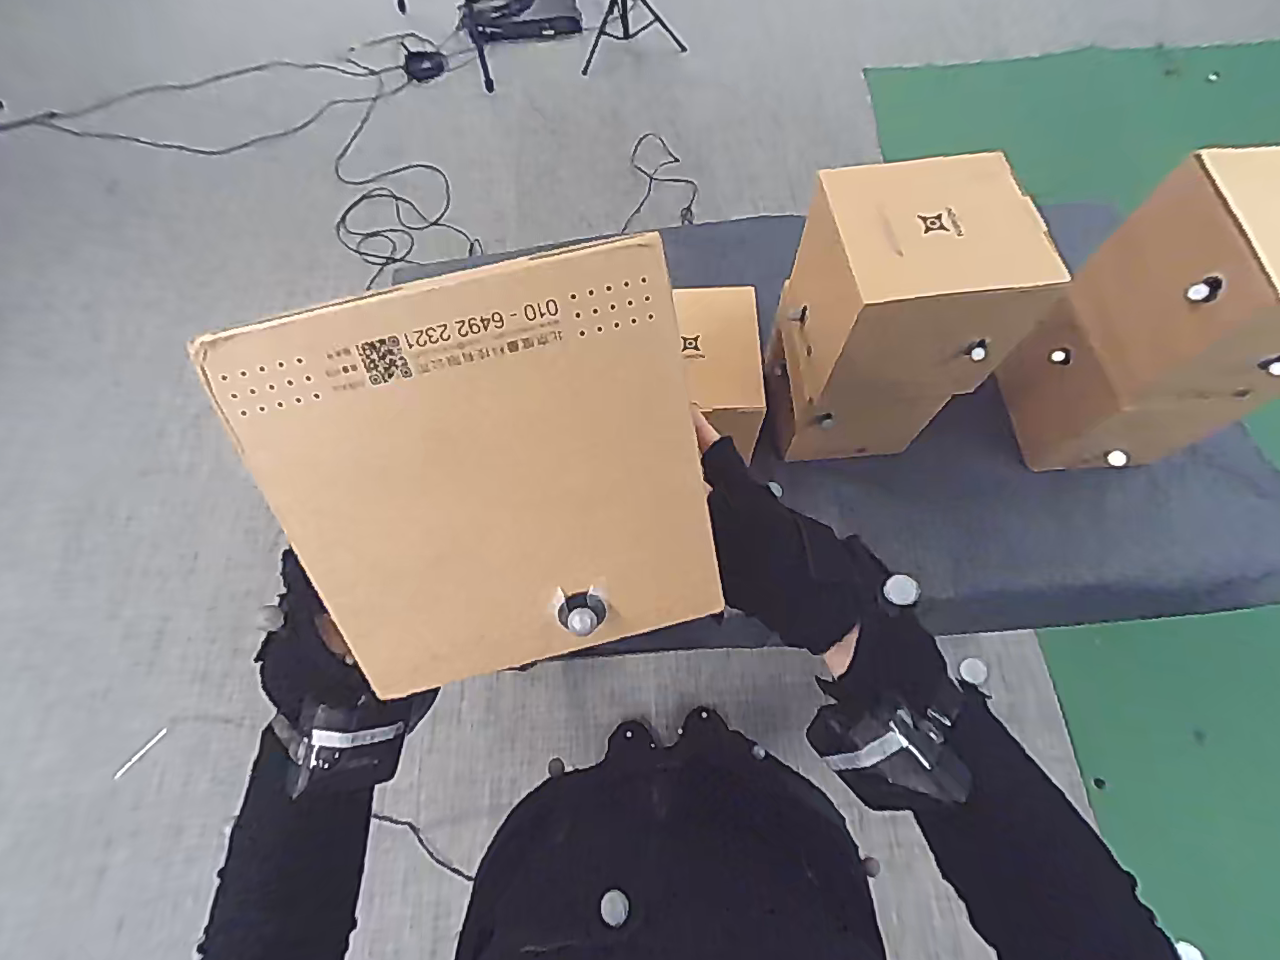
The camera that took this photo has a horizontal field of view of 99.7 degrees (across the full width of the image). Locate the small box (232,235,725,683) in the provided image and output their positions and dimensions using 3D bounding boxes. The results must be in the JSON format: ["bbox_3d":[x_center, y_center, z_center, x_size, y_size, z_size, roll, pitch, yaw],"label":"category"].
[{"bbox_3d":[-0.064,-0.031,0.297,0.168,0.176,0.179,-14,25,-3],"label":"small box"}]

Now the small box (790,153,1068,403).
[{"bbox_3d":[0.269,-0.195,0.554,0.179,0.176,0.168,-6,66,1],"label":"small box"}]

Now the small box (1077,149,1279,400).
[{"bbox_3d":[0.590,-0.190,0.532,0.168,0.176,0.179,-1,67,3],"label":"small box"}]
